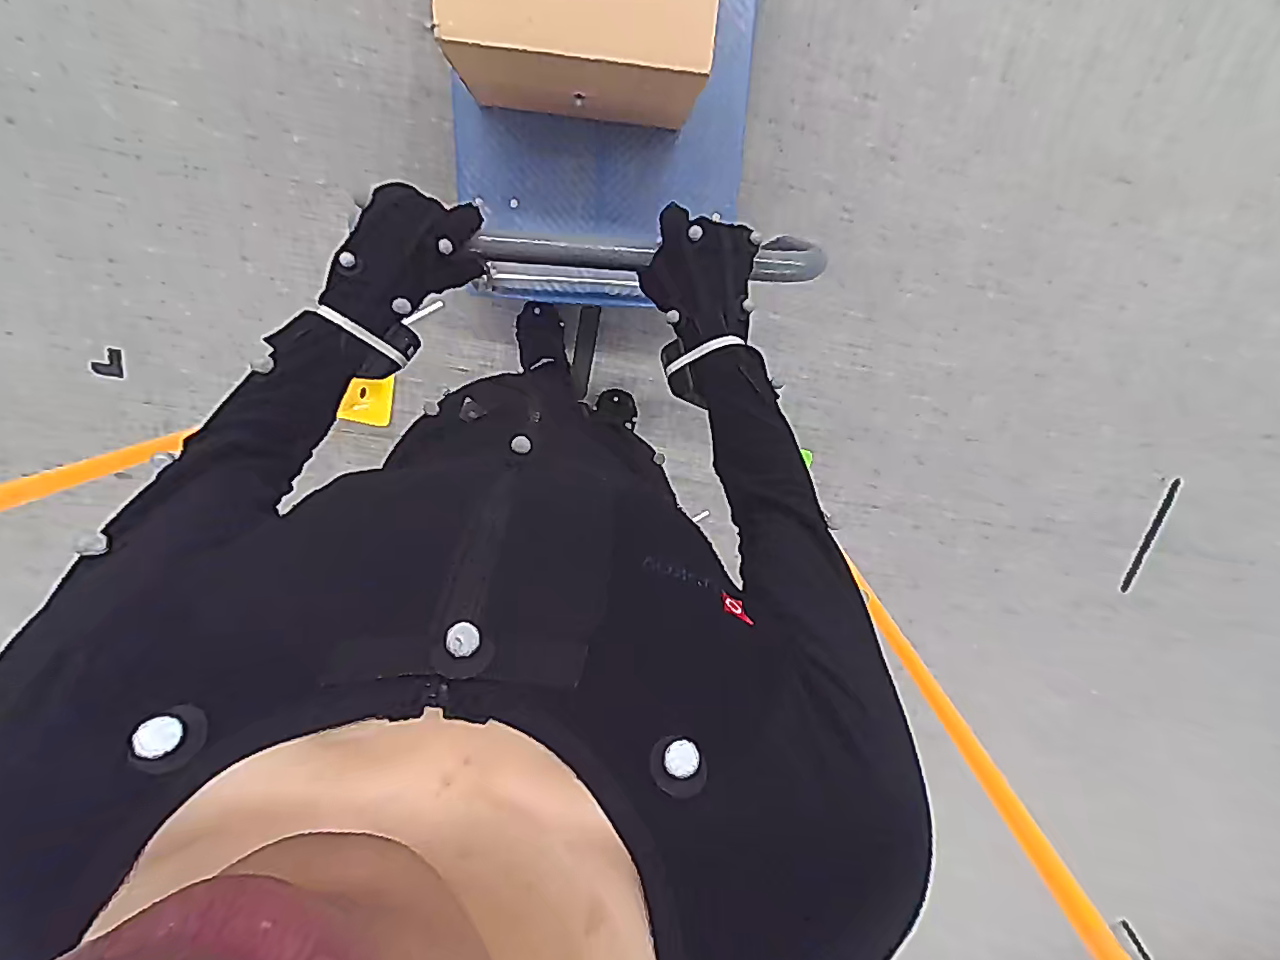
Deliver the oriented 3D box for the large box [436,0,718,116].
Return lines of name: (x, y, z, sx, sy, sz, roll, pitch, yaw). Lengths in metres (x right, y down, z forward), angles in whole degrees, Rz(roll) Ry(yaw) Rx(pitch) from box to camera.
large box: (-0.087, -0.822, 0.875, 0.408, 0.320, 0.320, 4, 110, -5)

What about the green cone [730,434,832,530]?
green cone: (0.386, 0.036, 1.368, 0.202, 0.368, 0.200, 12, 108, -10)
